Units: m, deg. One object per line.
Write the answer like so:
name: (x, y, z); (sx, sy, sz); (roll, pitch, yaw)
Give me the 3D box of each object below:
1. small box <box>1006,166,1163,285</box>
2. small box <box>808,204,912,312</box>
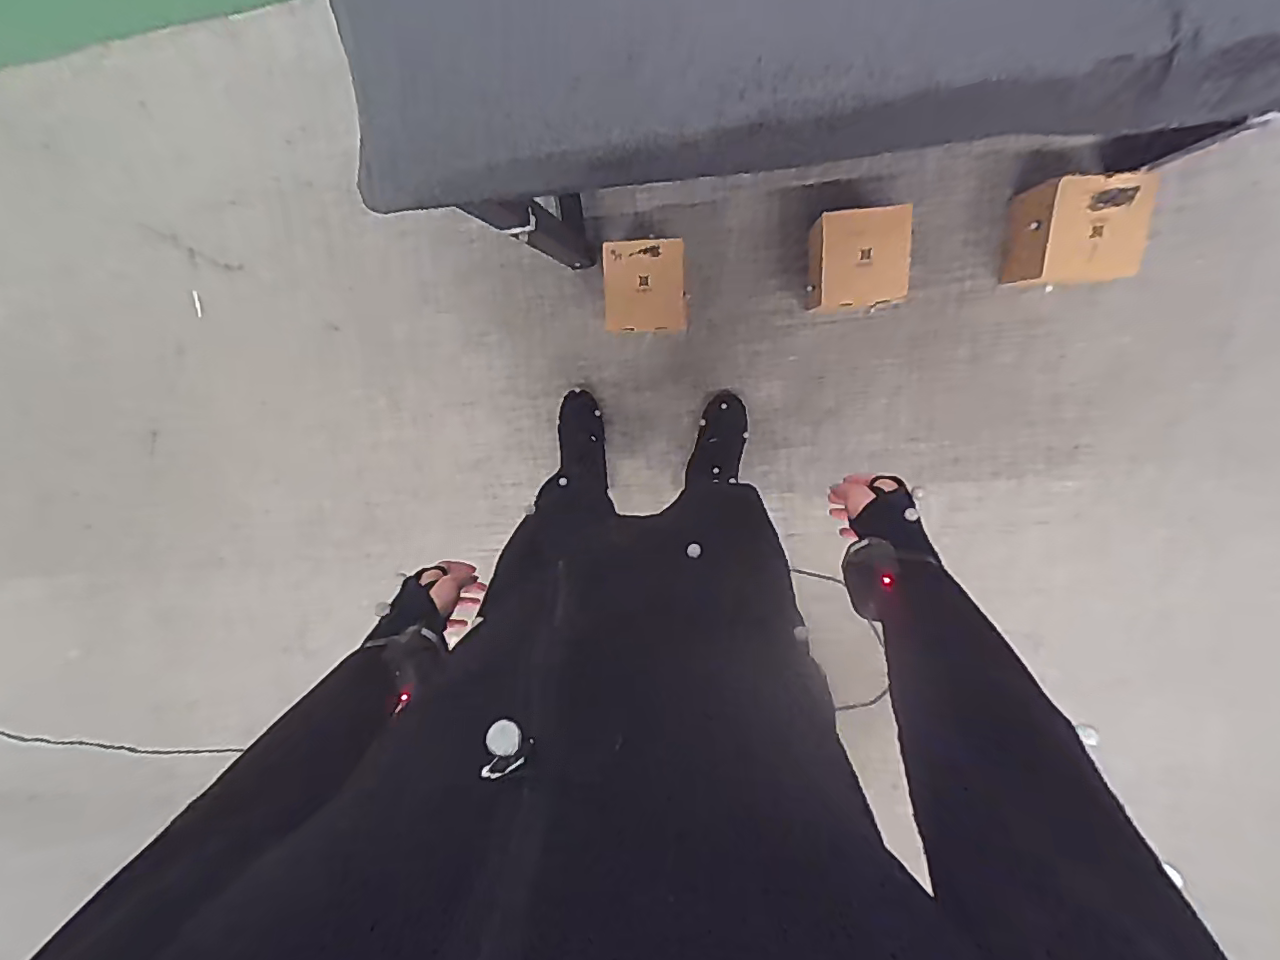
small box: (0.841, -0.481, 1.044); (0.168, 0.176, 0.179); (1, 104, 9)
small box: (0.447, -0.448, 1.119); (0.168, 0.176, 0.179); (-3, 101, 8)
